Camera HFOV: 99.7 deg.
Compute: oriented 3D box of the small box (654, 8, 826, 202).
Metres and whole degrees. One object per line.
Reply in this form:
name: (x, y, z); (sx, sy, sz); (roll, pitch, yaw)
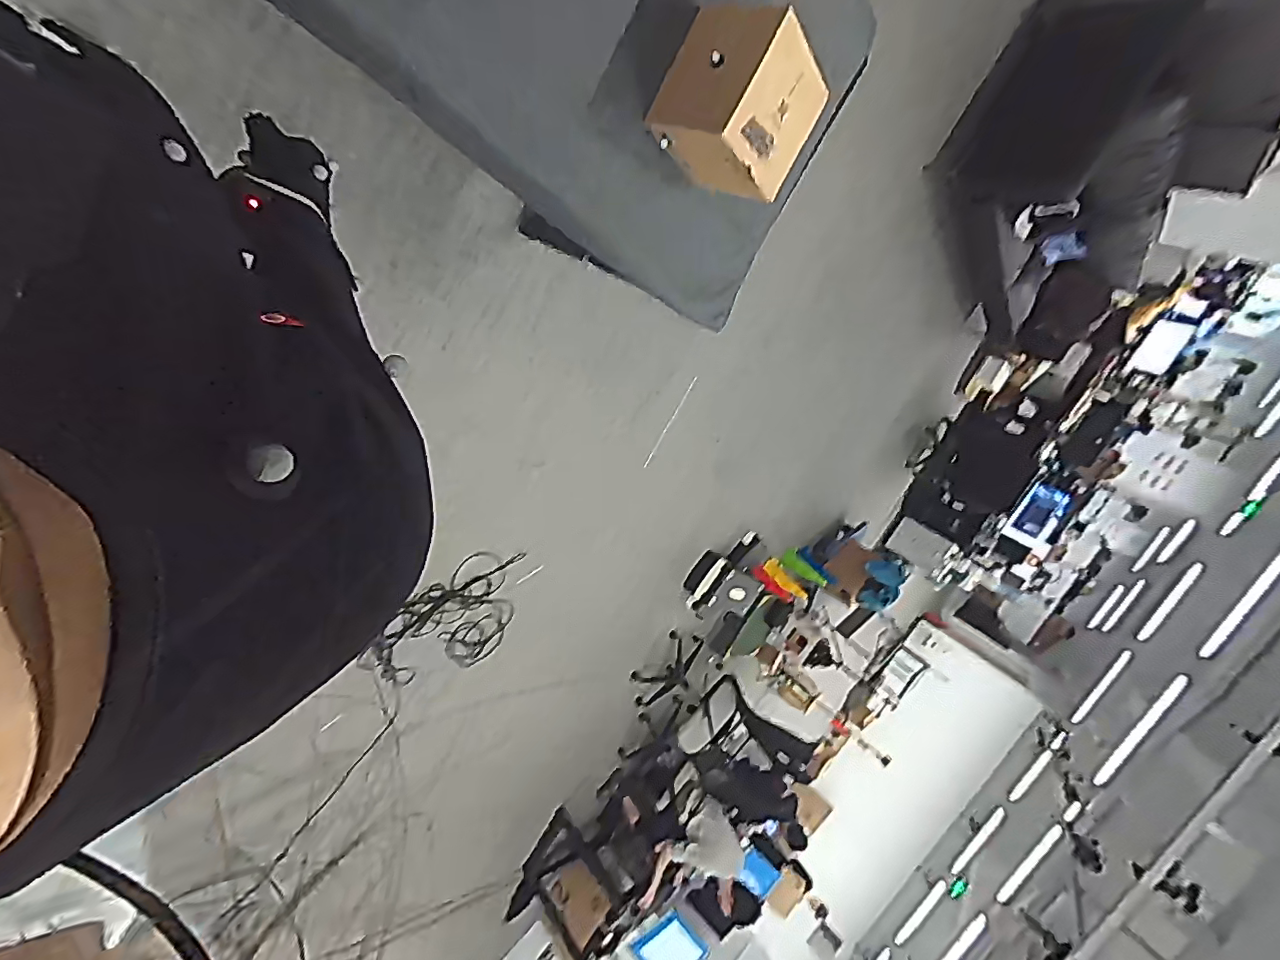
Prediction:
small box: (0.146, -0.567, 0.829); (0.168, 0.176, 0.179); (17, 105, -53)
